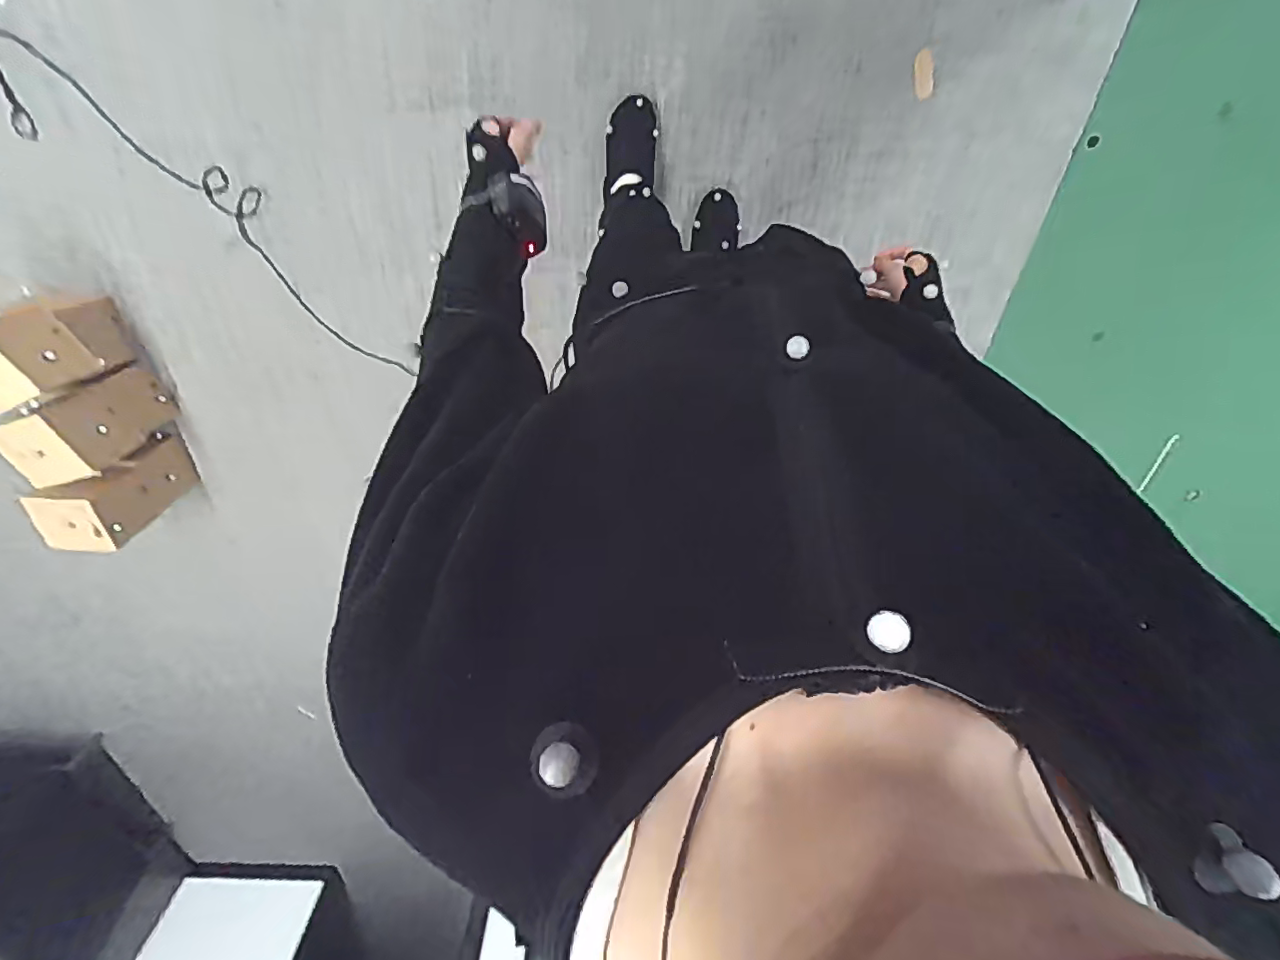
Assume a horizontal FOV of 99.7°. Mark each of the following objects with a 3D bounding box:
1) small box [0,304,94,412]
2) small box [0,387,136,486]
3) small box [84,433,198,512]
[{"bbox_3d":[-1.410,-0.275,1.220,0.179,0.176,0.168,-18,120,13],"label":"small box"},{"bbox_3d":[-1.408,-0.111,1.329,0.179,0.176,0.168,-11,122,8],"label":"small box"},{"bbox_3d":[-1.454,-0.027,1.577,0.168,0.176,0.179,3,124,-1],"label":"small box"}]
